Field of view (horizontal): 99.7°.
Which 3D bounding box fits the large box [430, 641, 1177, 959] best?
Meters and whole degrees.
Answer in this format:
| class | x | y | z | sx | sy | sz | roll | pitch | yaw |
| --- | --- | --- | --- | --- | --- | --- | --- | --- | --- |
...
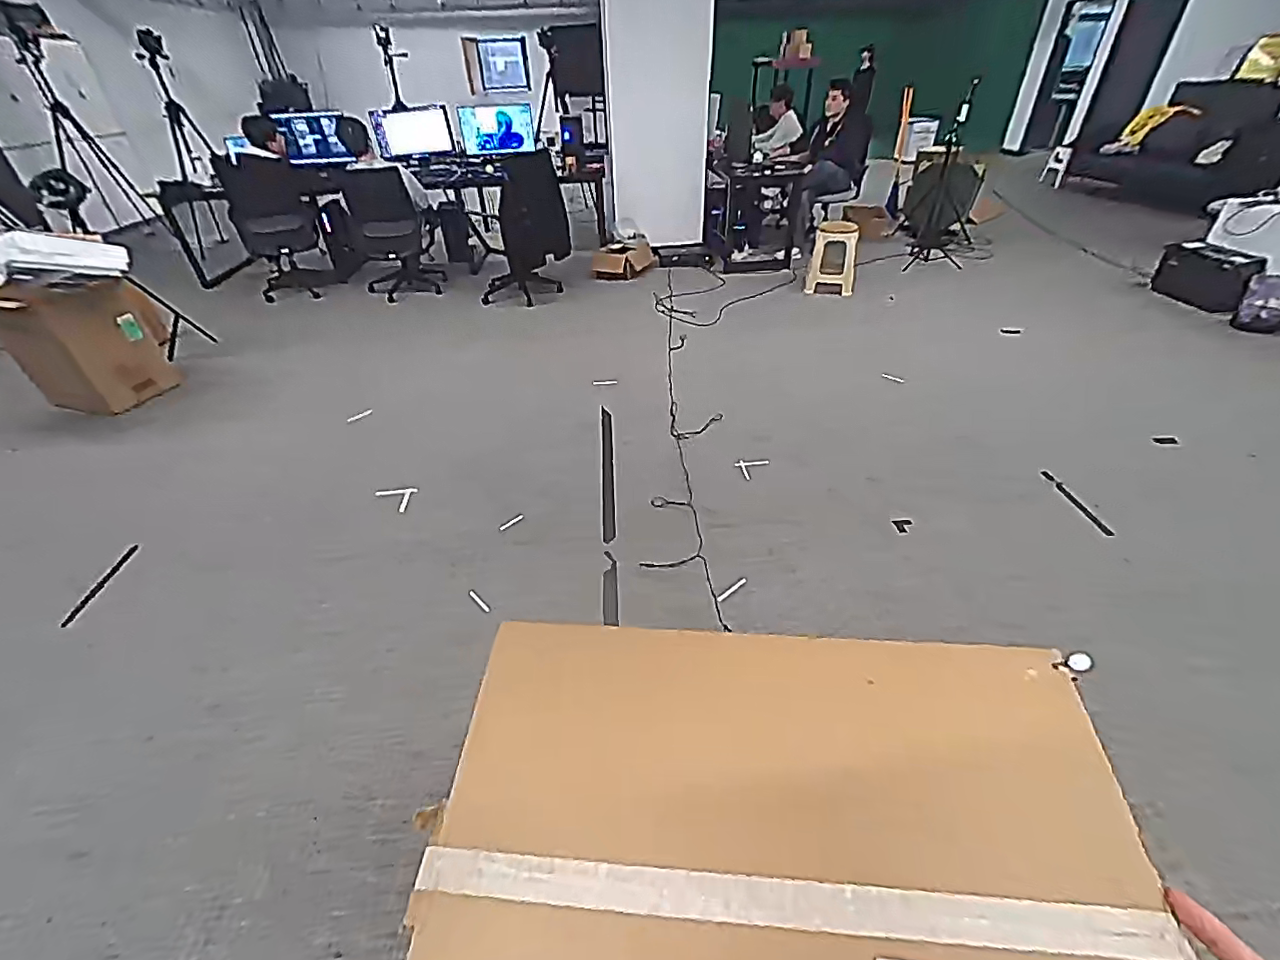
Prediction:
| class | x | y | z | sx | sy | sz | roll | pitch | yaw |
| --- | --- | --- | --- | --- | --- | --- | --- | --- | --- |
| large box | 0.089 | 0.340 | 0.415 | 0.408 | 0.320 | 0.320 | 1 | 50 | 5 |
